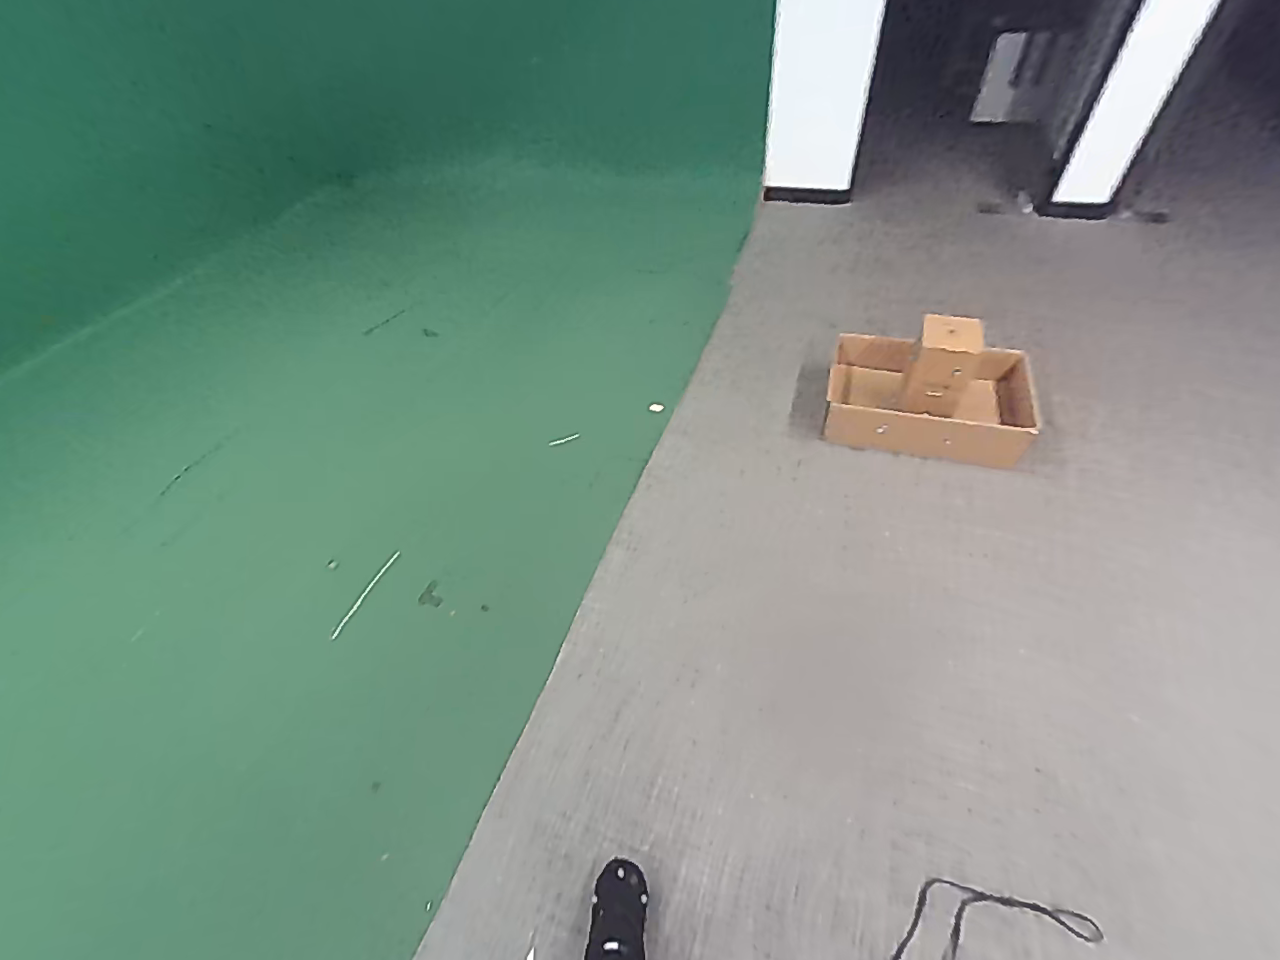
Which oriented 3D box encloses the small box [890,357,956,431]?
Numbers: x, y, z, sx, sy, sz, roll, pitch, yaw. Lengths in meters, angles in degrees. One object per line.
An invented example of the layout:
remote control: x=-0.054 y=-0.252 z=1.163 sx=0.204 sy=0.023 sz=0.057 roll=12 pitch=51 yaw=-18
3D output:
small box: x=0.955 y=-0.289 z=1.829 sx=0.168 sy=0.176 sz=0.179 roll=13 pitch=53 yaw=17

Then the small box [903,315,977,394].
small box: x=0.942 y=-0.394 z=1.707 sx=0.168 sy=0.176 sz=0.179 roll=12 pitch=51 yaw=16
